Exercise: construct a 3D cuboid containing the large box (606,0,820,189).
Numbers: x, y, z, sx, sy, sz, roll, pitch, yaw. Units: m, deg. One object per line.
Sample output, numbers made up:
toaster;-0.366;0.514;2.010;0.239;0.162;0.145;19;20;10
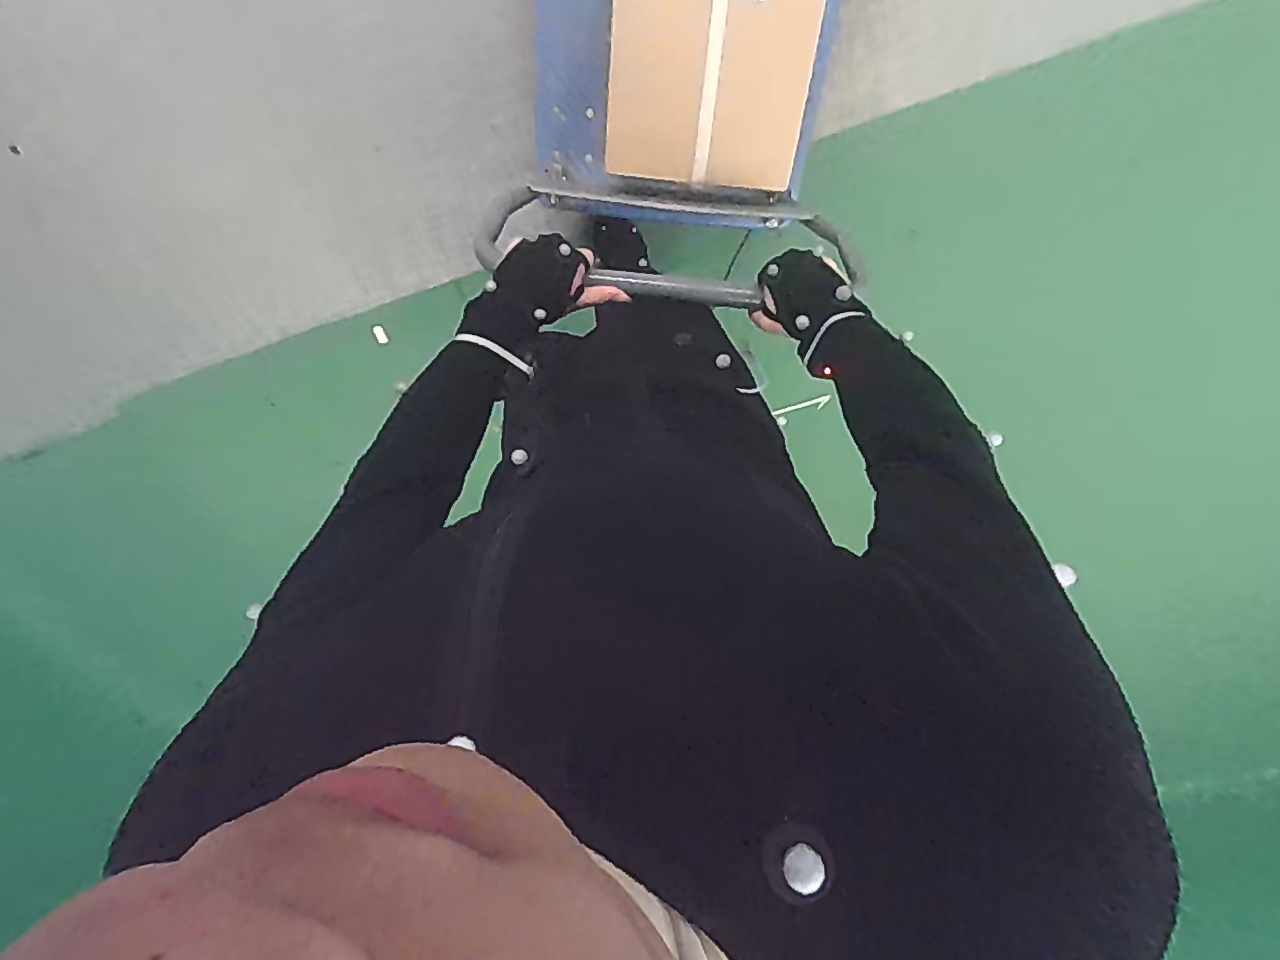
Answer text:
large box;0.117;-0.755;0.958;0.320;0.320;0.408;5;120;-2
